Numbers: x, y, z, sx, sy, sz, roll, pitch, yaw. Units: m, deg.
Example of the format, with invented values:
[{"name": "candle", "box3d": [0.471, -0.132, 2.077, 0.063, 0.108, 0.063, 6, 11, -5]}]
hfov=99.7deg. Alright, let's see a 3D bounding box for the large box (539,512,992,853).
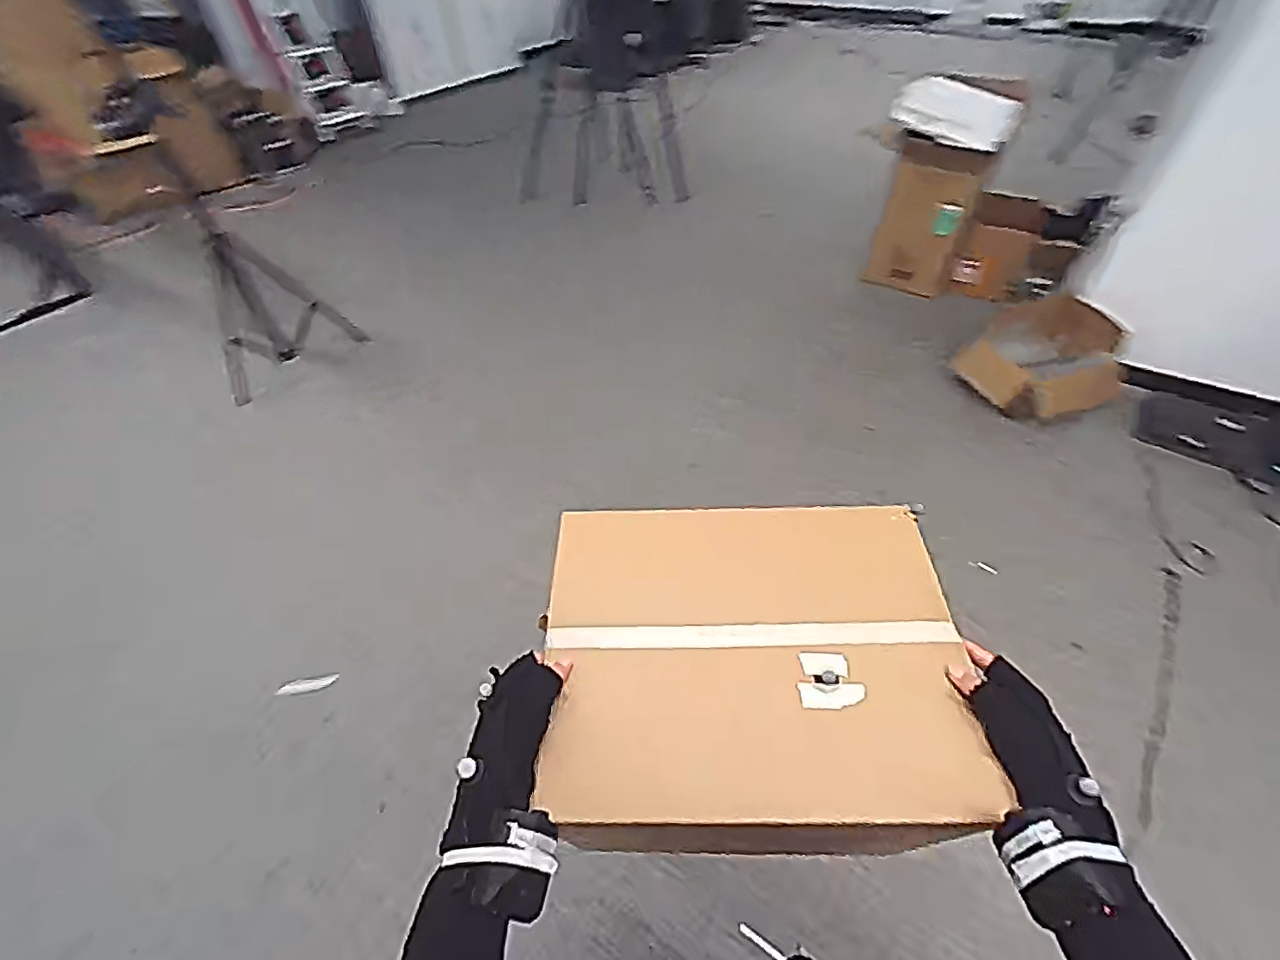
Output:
[{"name": "large box", "box3d": [0.108, 0.259, 0.674, 0.408, 0.320, 0.320, -2, 52, 1]}]
